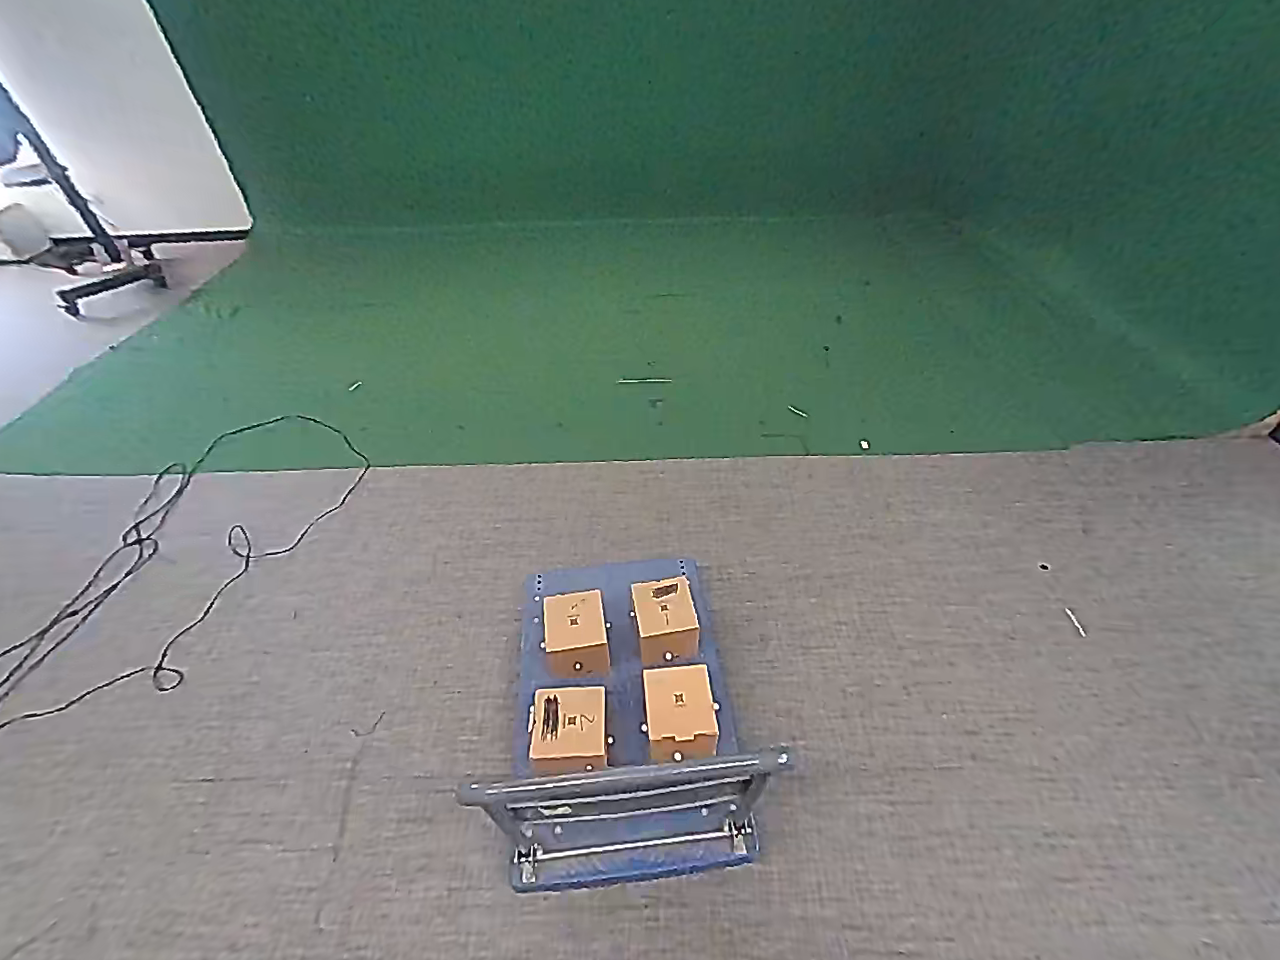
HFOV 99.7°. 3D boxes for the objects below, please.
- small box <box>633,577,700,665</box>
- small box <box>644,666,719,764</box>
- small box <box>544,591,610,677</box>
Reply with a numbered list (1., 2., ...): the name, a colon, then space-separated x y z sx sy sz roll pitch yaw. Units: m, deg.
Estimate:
1. small box: 0.071 0.410 1.569 0.168 0.176 0.179 -8 46 -5
2. small box: 0.098 0.598 1.377 0.168 0.176 0.179 -4 45 -3
3. small box: -0.179 0.444 1.544 0.168 0.176 0.179 -7 44 -6
